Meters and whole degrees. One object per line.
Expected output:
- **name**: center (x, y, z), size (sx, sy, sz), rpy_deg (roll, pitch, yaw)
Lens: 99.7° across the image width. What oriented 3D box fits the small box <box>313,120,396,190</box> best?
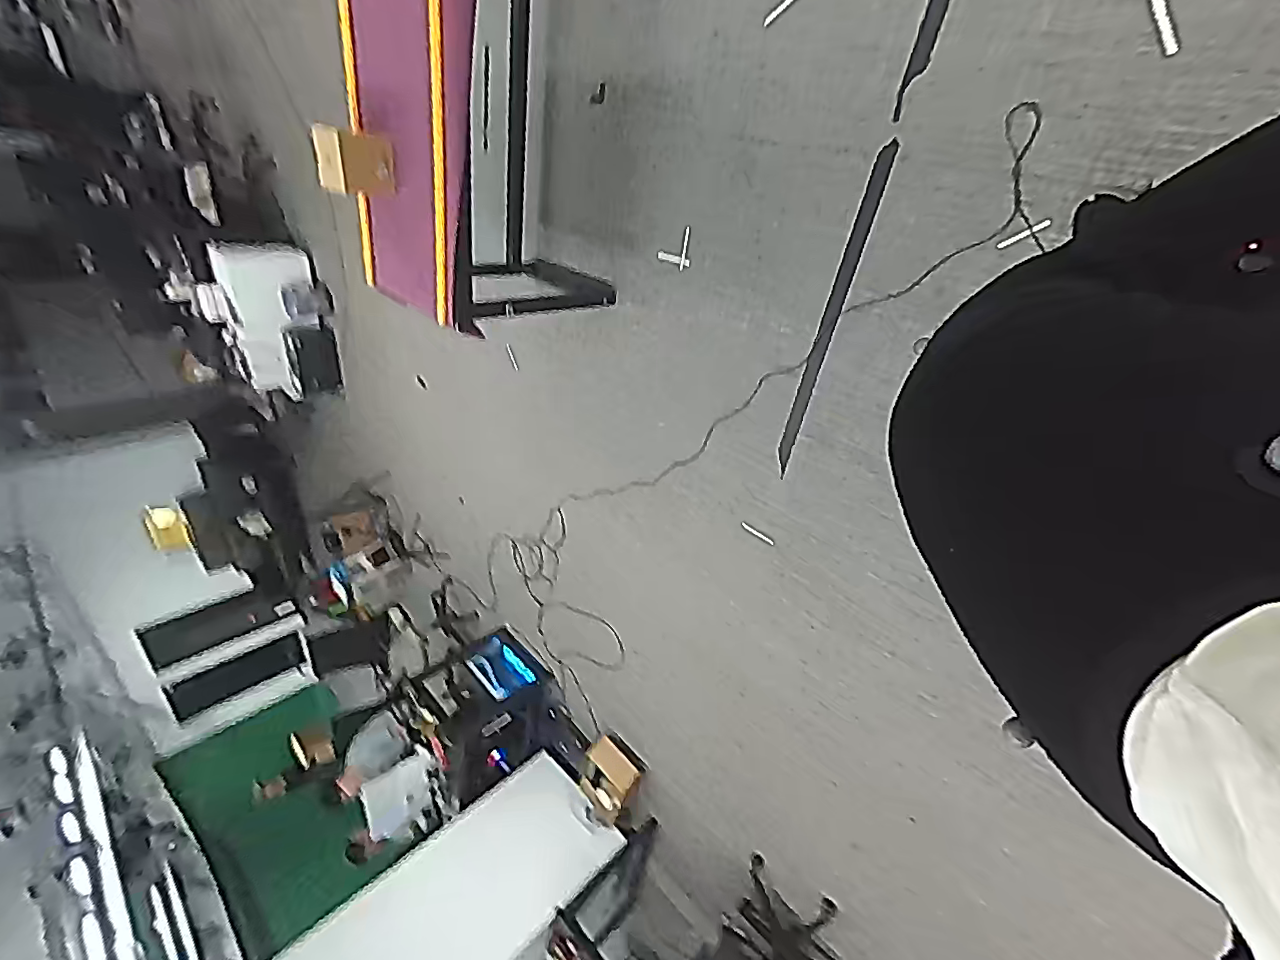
- **small box**: center (-0.892, -1.016, 1.698), size (0.179, 0.176, 0.168), rpy_deg (30, 128, 32)
